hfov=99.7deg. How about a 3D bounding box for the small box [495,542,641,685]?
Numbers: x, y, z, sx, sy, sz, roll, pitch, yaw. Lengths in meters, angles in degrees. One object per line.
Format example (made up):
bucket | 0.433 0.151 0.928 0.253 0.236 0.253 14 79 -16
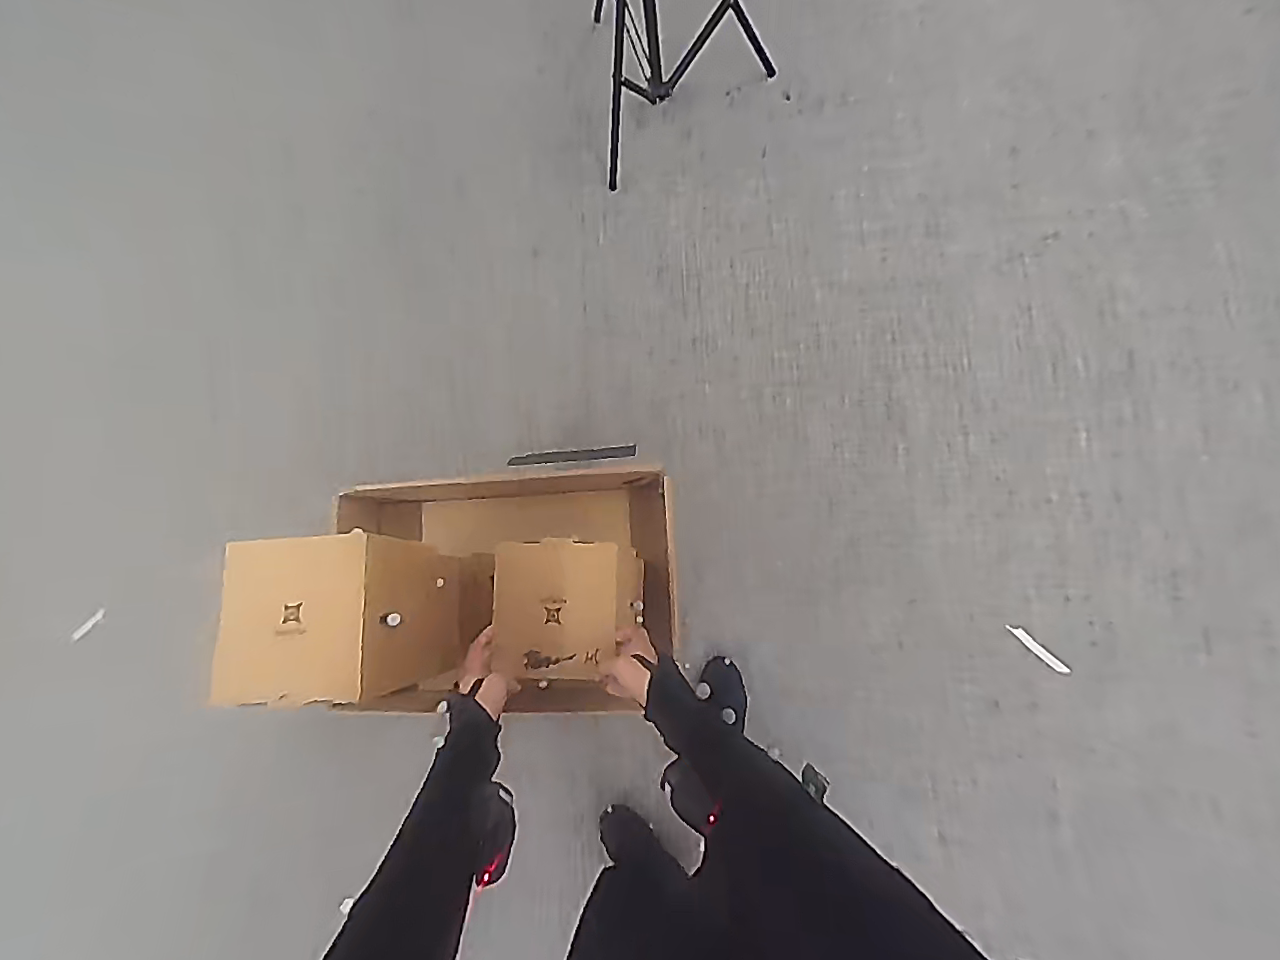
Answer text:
small box | -0.092 0.185 0.775 0.168 0.176 0.179 0 79 8

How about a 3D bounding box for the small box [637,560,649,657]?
small box | -0.078 0.222 0.936 0.168 0.176 0.179 3 81 8

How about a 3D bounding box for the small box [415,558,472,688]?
small box | -0.363 0.211 0.809 0.168 0.176 0.179 -7 80 4

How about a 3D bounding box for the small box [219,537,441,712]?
small box | -0.354 0.166 0.650 0.168 0.176 0.179 -4 80 4
